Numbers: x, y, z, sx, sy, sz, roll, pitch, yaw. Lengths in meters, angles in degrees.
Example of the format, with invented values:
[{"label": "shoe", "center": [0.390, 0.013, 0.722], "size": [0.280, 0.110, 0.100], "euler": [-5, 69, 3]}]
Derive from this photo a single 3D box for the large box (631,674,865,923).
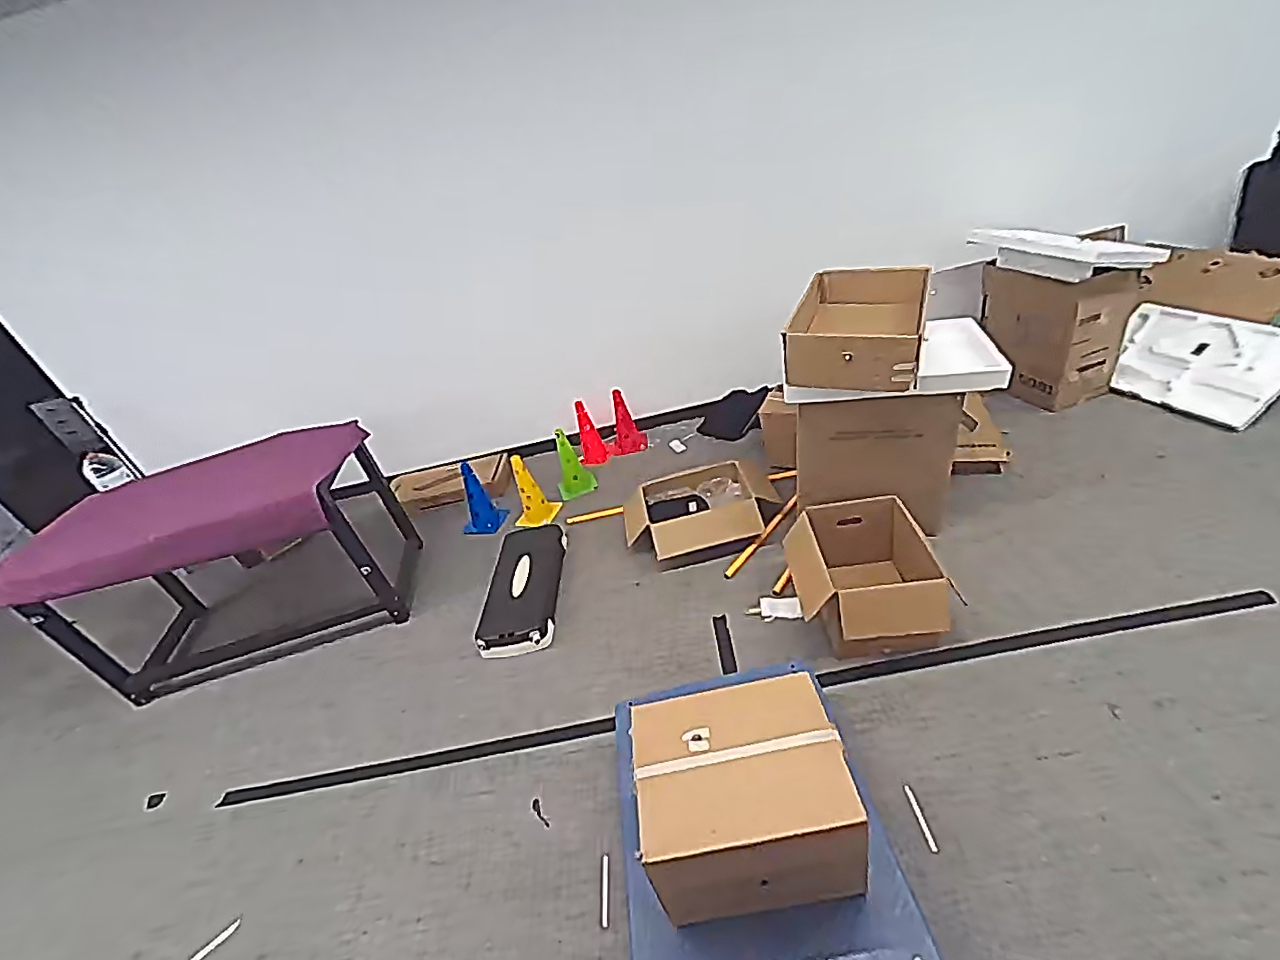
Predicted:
[{"label": "large box", "center": [0.221, 0.677, 1.158], "size": [0.408, 0.320, 0.320], "euler": [-14, 31, 4]}]
